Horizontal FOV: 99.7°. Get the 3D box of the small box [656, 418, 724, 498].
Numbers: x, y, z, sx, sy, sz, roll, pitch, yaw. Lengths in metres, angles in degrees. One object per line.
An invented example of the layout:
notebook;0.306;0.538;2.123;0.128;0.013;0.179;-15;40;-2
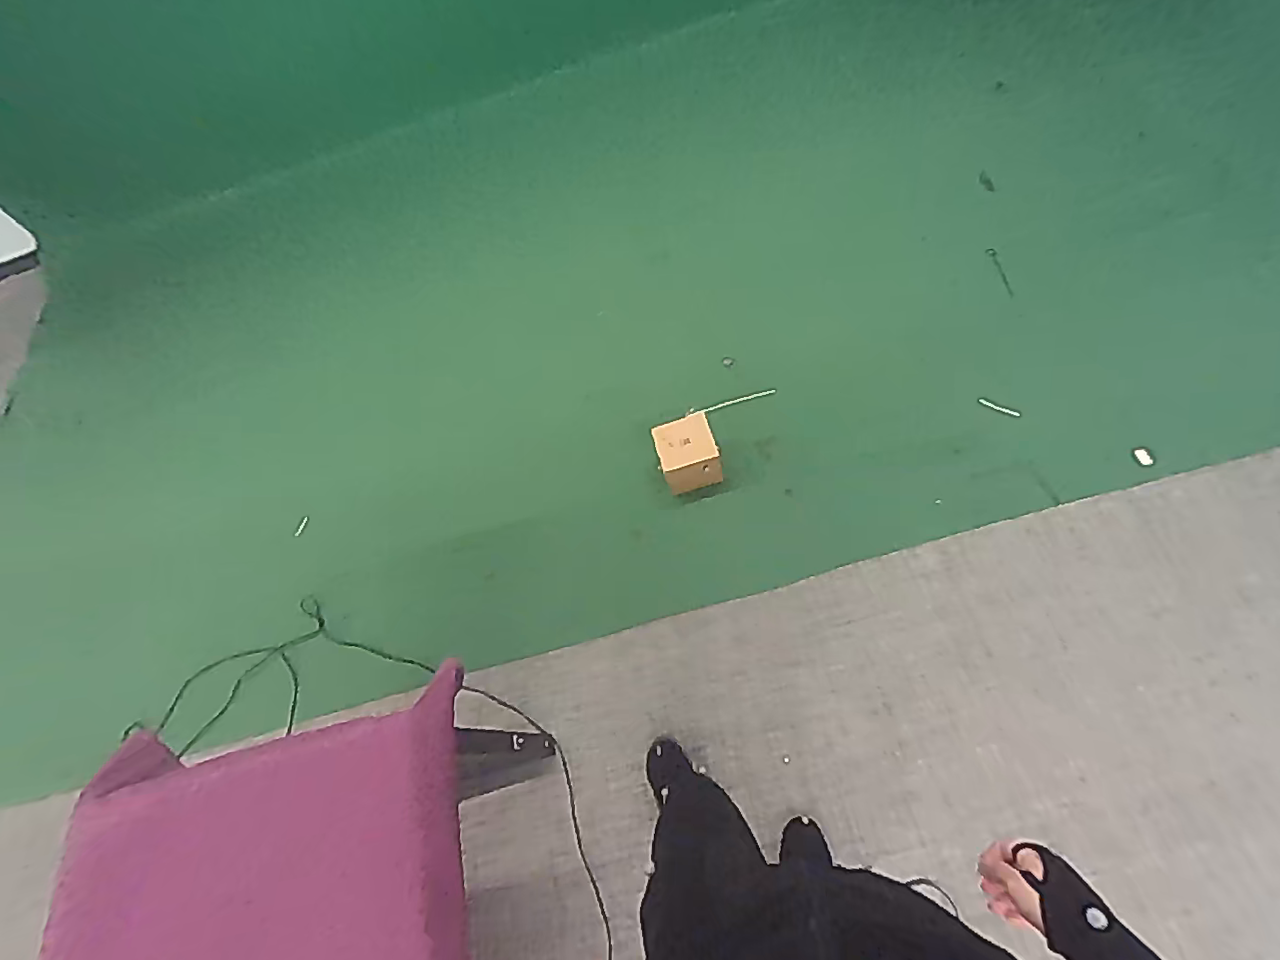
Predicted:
small box;0.163;-0.065;1.708;0.179;0.176;0.168;-17;60;4
